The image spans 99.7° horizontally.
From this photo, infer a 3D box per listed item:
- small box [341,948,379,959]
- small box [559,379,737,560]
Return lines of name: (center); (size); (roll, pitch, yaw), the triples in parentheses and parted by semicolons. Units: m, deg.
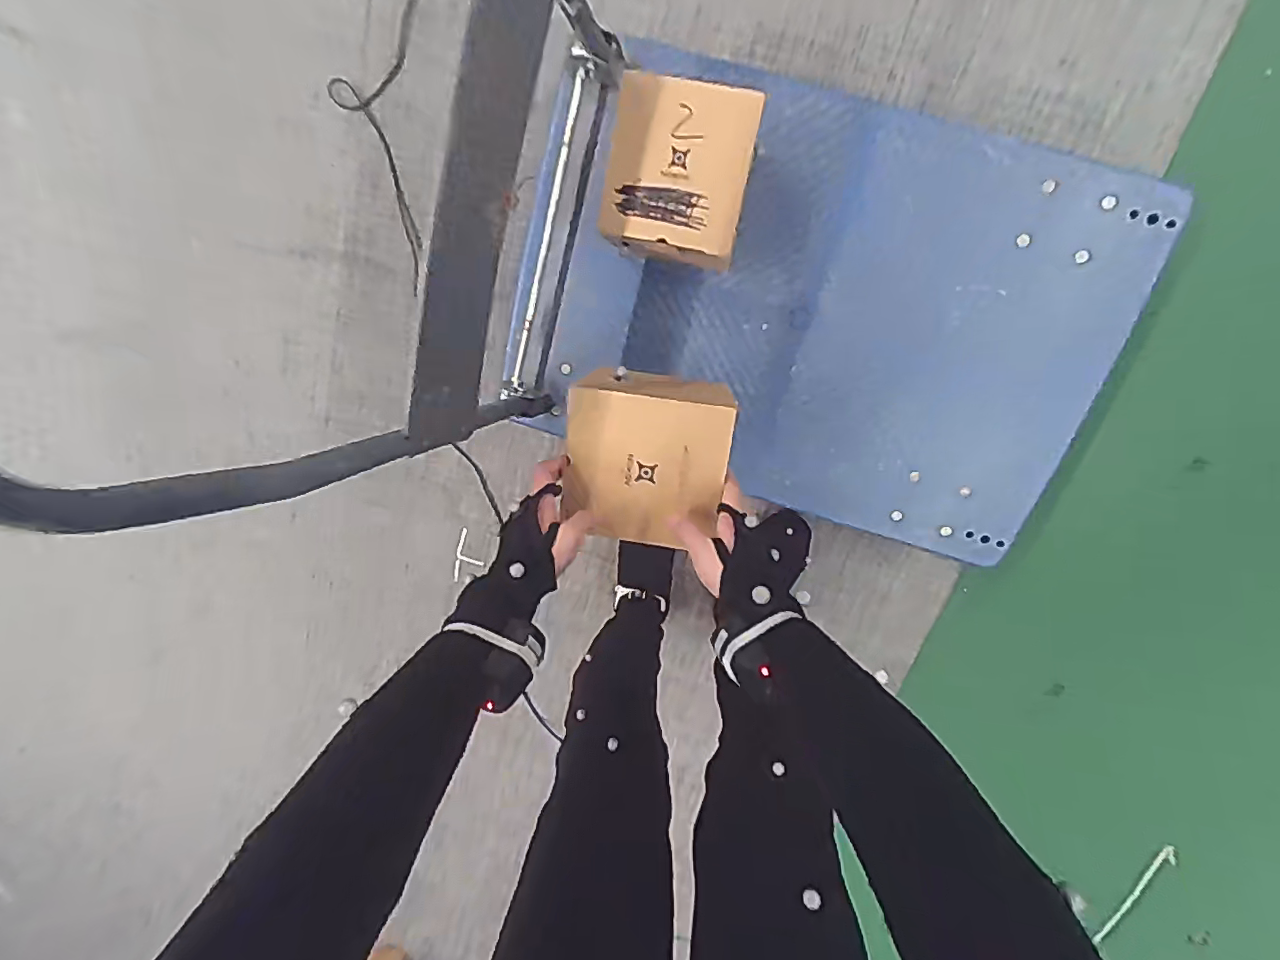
small box: (-0.805, 1.473, 1.510); (0.168, 0.176, 0.179); (20, 106, 2)
small box: (0.013, -0.024, 0.659); (0.179, 0.176, 0.168); (9, 108, 3)
